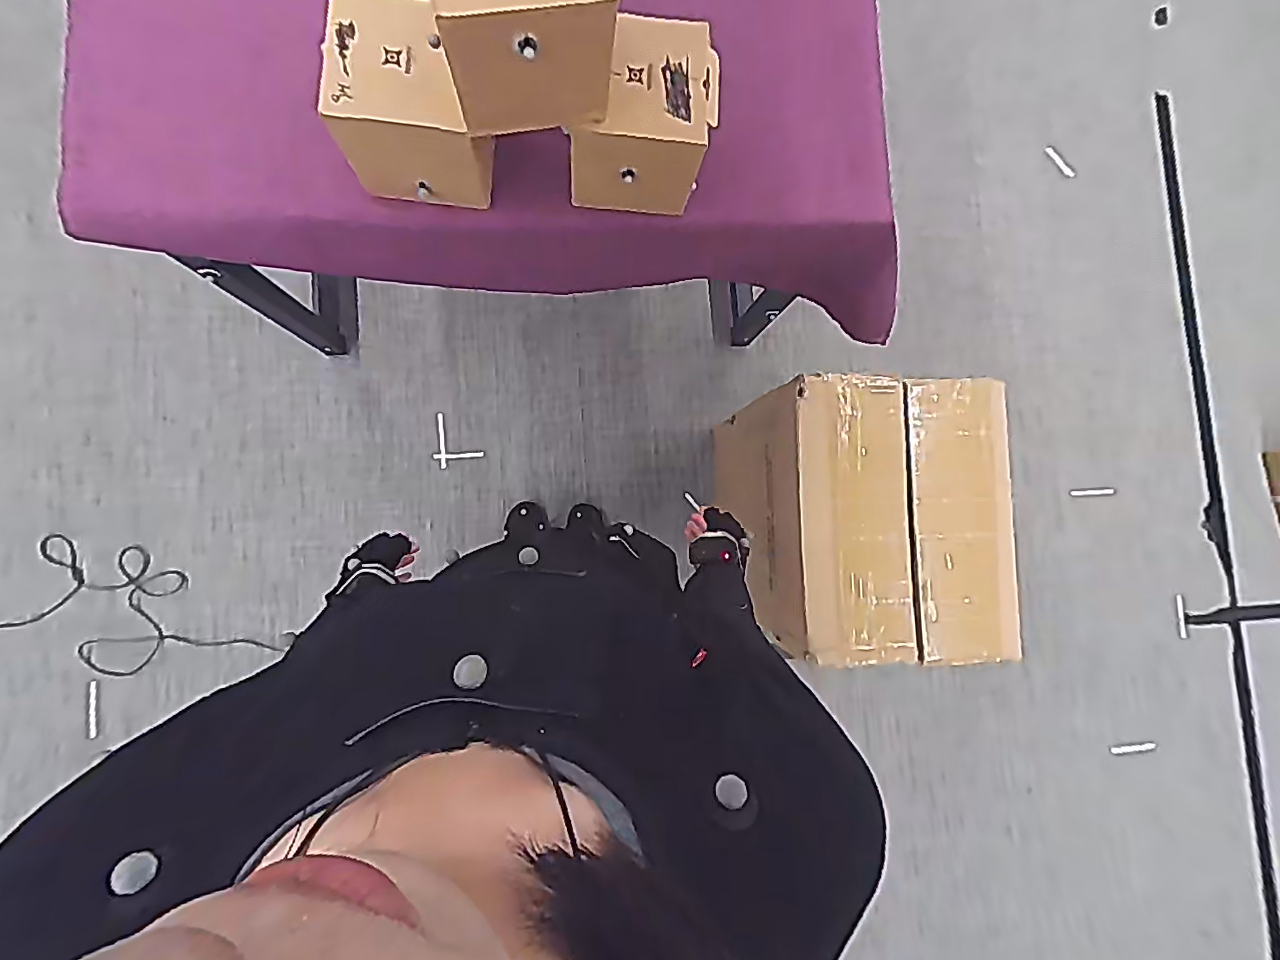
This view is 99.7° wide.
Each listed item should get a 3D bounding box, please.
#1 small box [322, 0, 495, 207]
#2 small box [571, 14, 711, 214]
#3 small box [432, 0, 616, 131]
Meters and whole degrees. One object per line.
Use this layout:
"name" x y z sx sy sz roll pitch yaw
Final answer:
"small box" -0.295 -0.498 0.731 0.179 0.176 0.168 3 85 -7
"small box" -0.006 -0.502 0.766 0.179 0.176 0.168 2 85 -6
"small box" -0.129 -0.516 0.588 0.179 0.176 0.168 -12 89 -8
